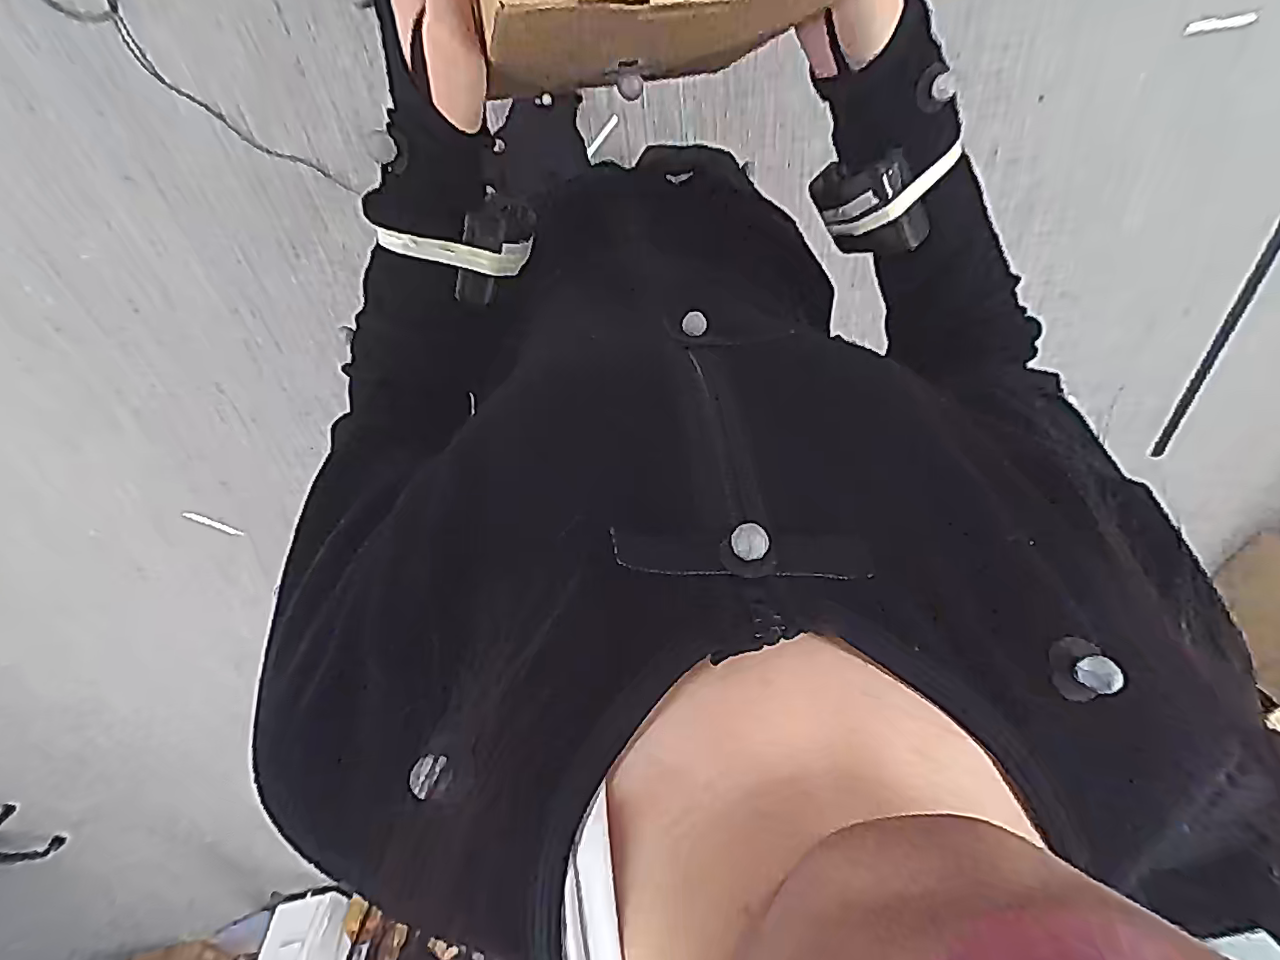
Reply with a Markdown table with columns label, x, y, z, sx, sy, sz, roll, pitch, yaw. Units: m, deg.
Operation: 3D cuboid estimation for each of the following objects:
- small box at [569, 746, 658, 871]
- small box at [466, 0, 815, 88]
| label | x | y | z | sx | sy | sz | roll | pitch | yaw |
| --- | --- | --- | --- | --- | --- | --- | --- | --- | --- |
| small box | -0.057 | 0.679 | 1.133 | 0.168 | 0.176 | 0.179 | -7 | 126 | -1 |
| small box | -0.010 | -0.311 | 0.249 | 0.168 | 0.176 | 0.179 | -14 | 117 | -11 |
